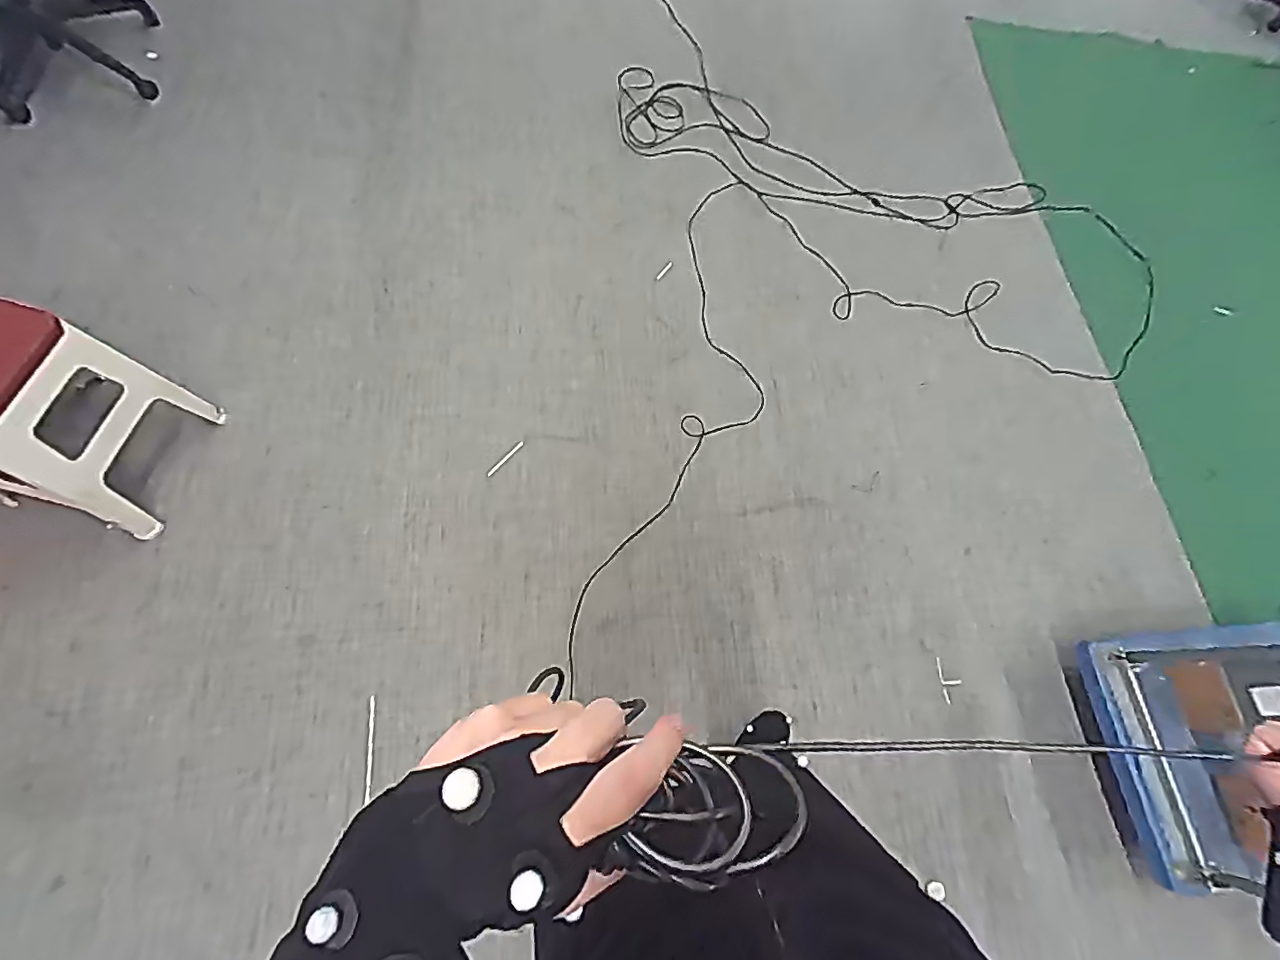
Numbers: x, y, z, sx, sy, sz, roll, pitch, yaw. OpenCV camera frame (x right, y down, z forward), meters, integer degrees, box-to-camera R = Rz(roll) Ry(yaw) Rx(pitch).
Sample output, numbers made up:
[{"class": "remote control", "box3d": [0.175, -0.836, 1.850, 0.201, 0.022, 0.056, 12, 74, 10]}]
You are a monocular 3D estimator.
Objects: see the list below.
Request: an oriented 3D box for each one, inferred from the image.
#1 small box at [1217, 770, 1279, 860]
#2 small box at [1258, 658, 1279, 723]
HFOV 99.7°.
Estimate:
[{"class": "small box", "box3d": [1.541, 0.790, 1.268, 0.179, 0.176, 0.168, -2, 70, -7]}, {"class": "small box", "box3d": [1.769, 0.545, 1.390, 0.179, 0.176, 0.168, -6, 71, -10]}]
